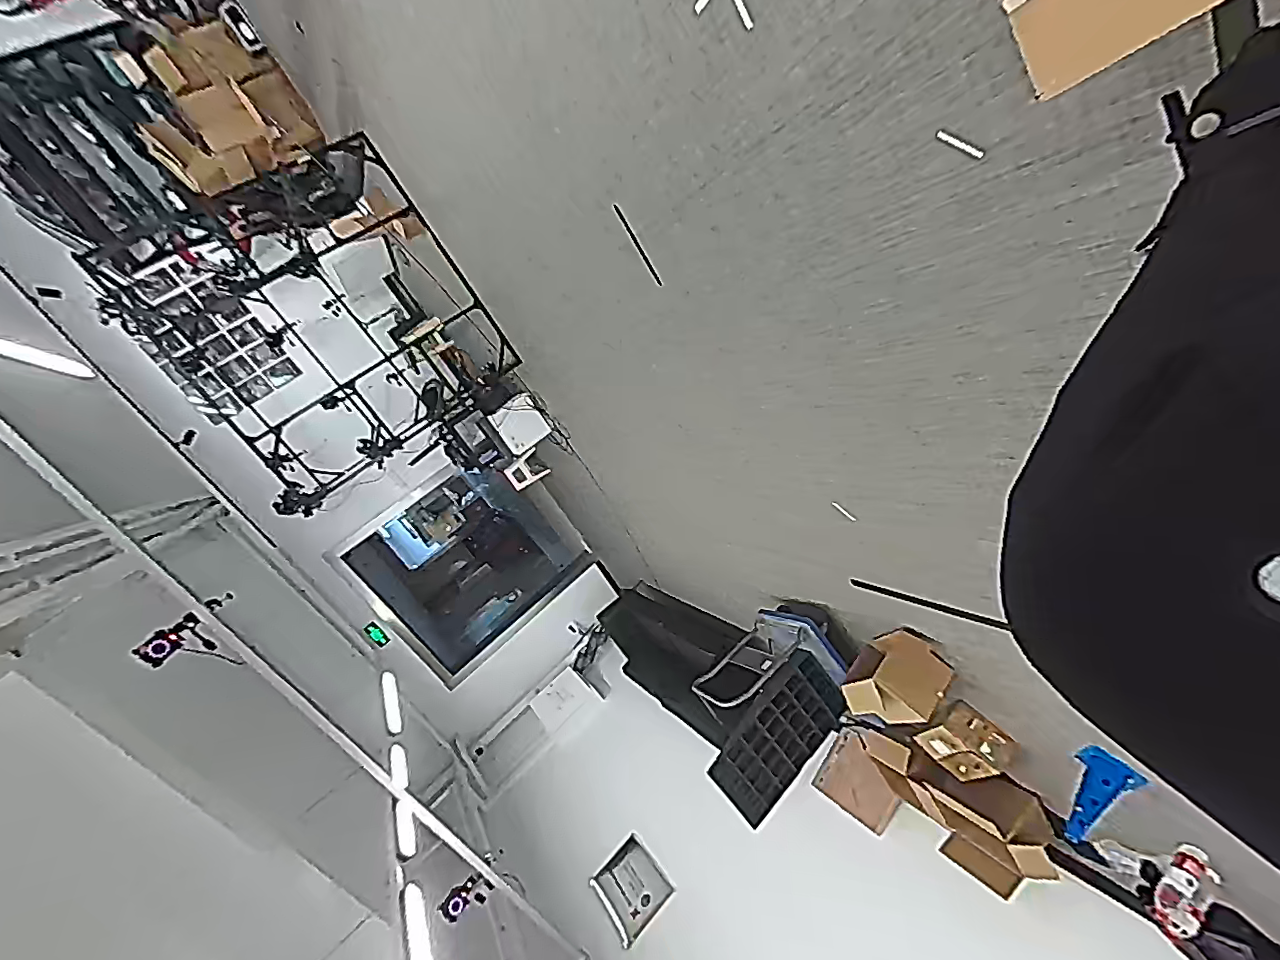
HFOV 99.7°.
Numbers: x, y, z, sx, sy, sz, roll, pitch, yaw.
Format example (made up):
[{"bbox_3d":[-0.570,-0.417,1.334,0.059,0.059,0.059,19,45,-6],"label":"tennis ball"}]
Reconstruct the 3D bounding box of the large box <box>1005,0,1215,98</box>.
[{"bbox_3d":[0.760,-0.830,0.706,0.320,0.320,0.408,56,161,-15],"label":"large box"}]
